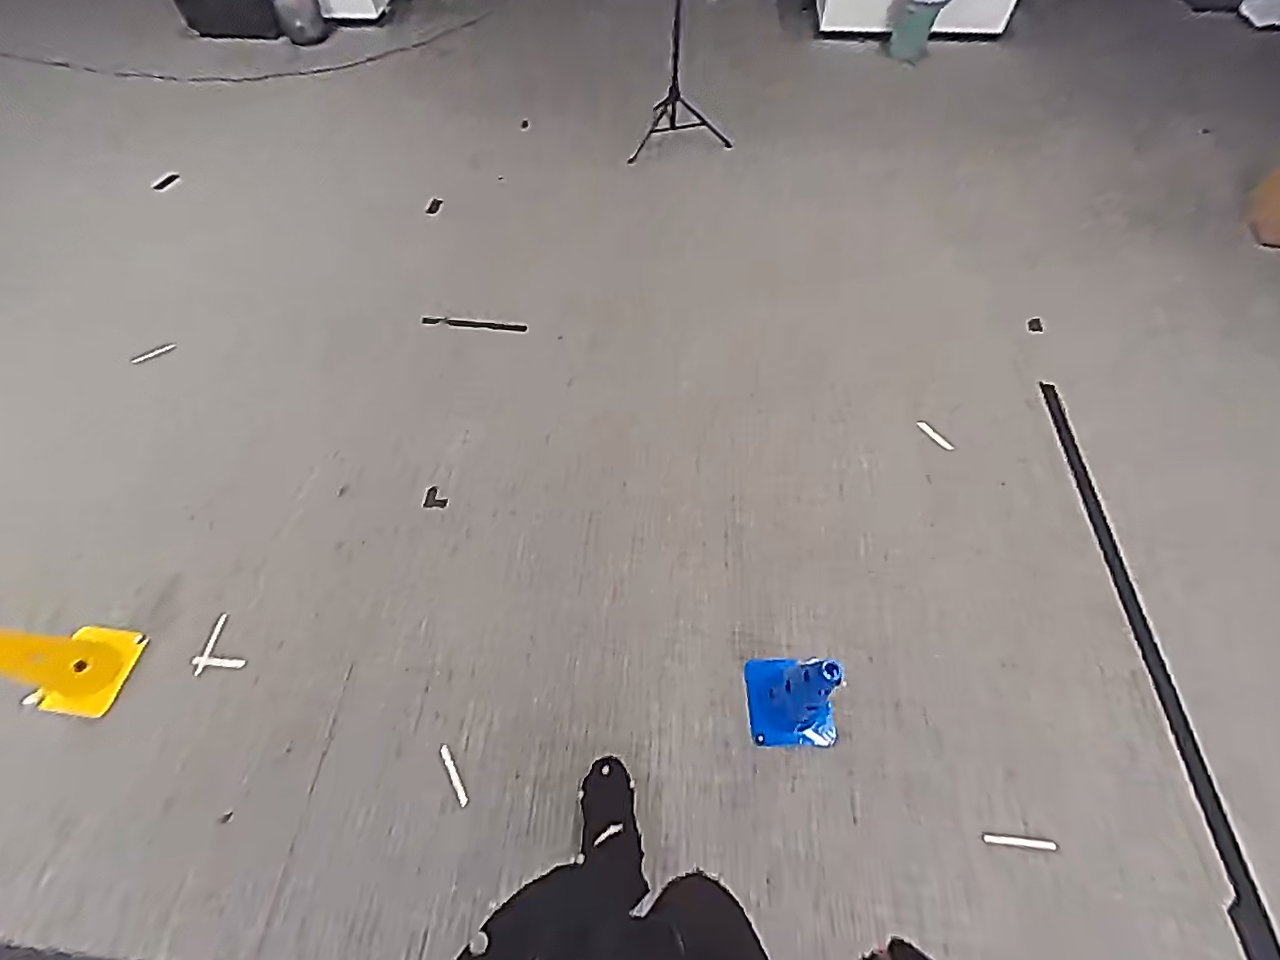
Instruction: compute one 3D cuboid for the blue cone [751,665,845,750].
[{"bbox_3d":[0.367,0.464,1.169,0.193,0.380,0.192,0,59,1],"label":"blue cone"}]
